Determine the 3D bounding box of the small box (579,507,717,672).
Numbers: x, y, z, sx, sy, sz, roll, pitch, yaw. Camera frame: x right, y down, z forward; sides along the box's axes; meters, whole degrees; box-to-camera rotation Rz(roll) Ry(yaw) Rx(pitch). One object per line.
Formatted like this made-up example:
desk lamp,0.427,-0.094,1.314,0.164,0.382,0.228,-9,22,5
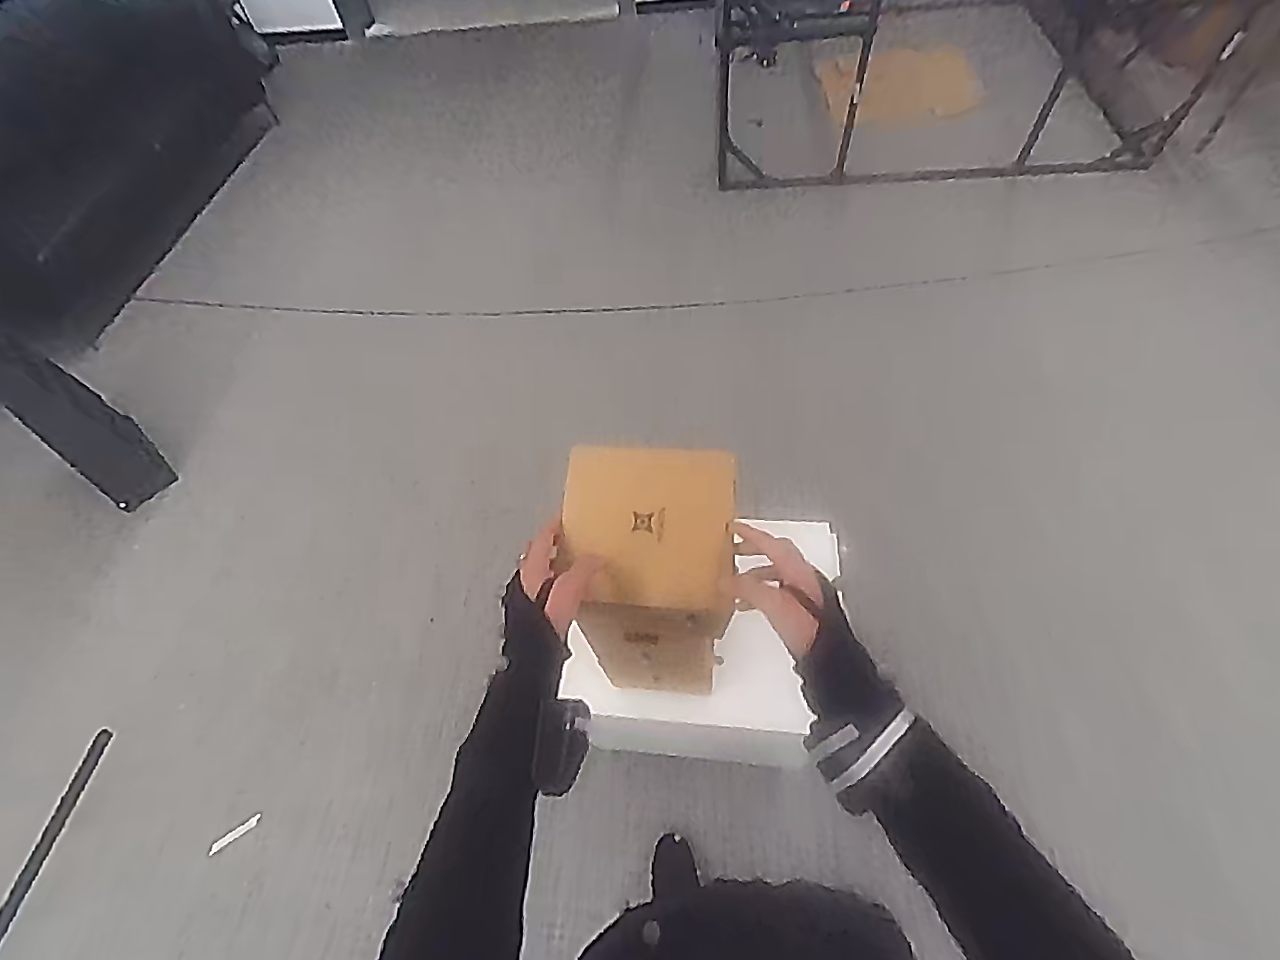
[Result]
small box,0.022,0.160,0.779,0.168,0.176,0.179,3,58,10
